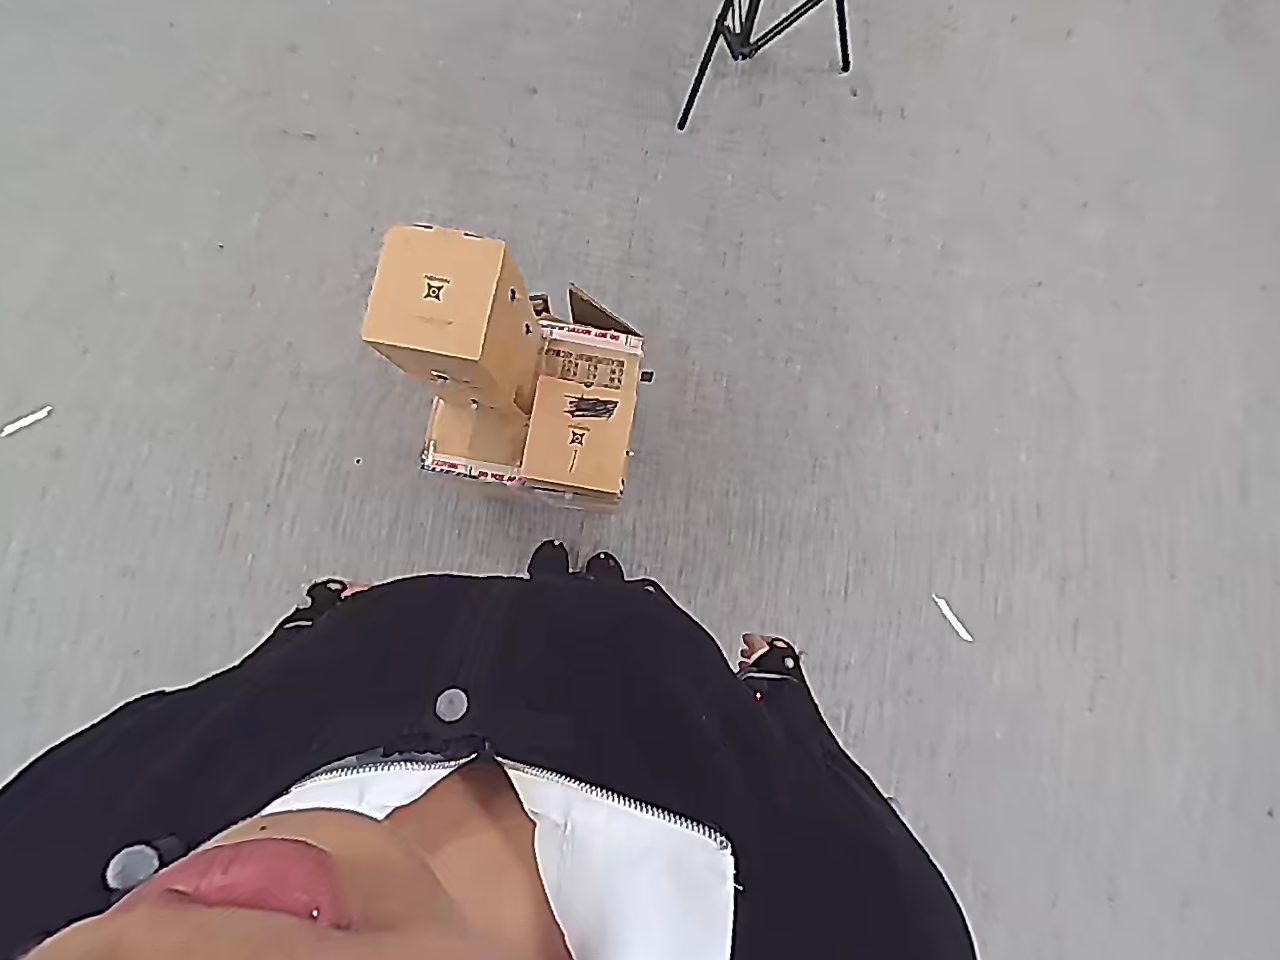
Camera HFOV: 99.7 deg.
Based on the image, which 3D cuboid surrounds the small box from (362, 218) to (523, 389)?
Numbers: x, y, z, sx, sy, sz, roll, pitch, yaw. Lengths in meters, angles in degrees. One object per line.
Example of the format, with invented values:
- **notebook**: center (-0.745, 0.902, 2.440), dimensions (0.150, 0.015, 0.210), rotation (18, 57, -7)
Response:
- **small box**: center (-0.281, -0.253, 0.813), dimensions (0.168, 0.176, 0.179), rotation (10, 84, 0)

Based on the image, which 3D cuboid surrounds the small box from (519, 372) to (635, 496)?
- **small box**: center (-0.109, -0.074, 0.968), dimensions (0.168, 0.176, 0.179), rotation (10, 85, -3)

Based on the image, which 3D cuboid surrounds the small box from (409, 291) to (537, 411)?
- **small box**: center (-0.288, -0.238, 0.974), dimensions (0.168, 0.176, 0.179), rotation (10, 84, -1)
